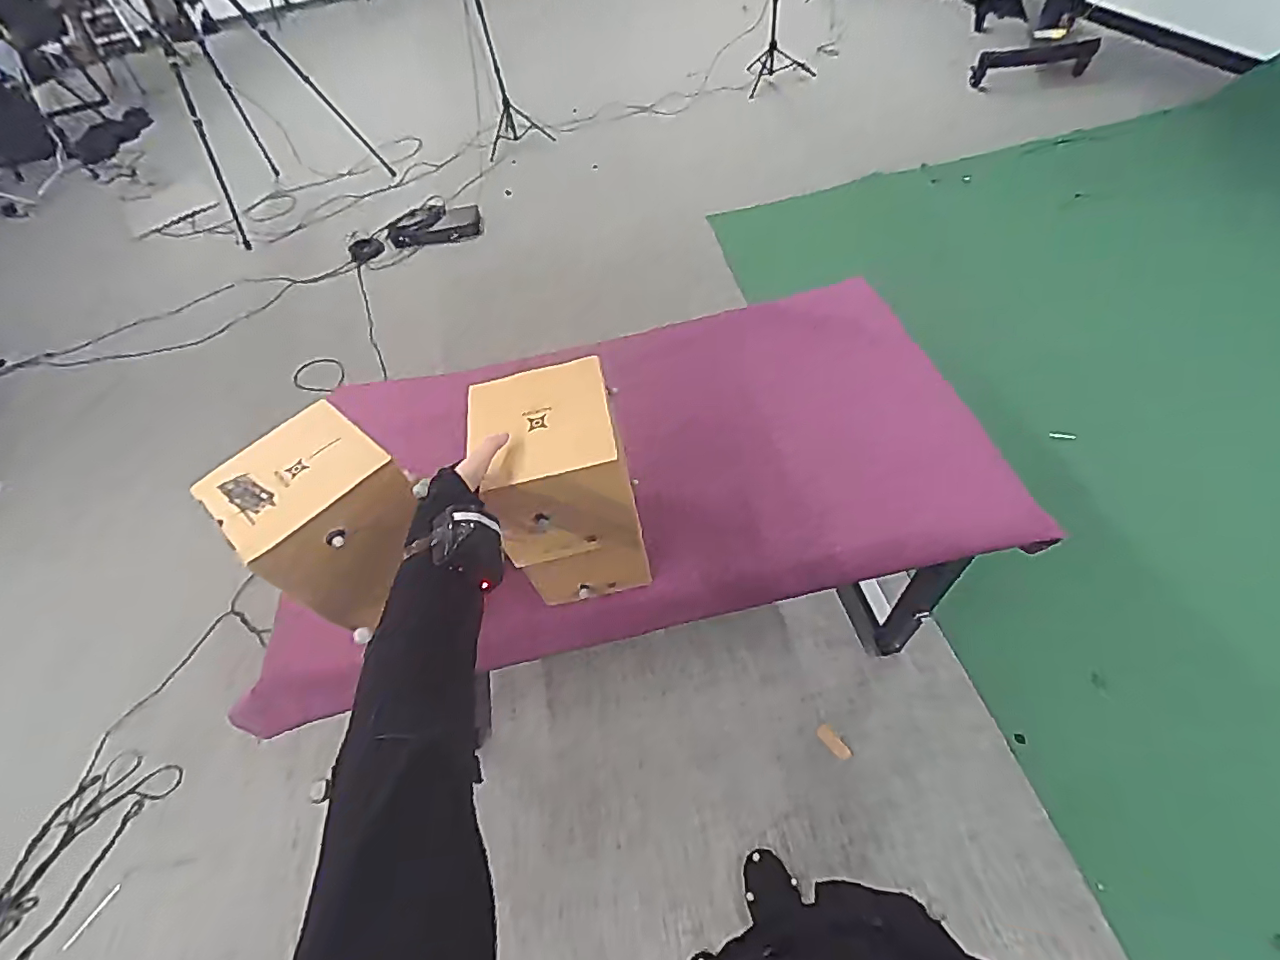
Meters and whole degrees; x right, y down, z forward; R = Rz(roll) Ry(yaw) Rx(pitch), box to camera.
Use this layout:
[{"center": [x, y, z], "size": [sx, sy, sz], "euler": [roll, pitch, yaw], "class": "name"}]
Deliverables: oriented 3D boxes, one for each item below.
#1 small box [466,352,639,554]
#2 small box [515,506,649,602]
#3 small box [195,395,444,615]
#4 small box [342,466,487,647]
[{"center": [-0.104, -0.024, 0.676], "size": [0.168, 0.176, 0.179], "euler": [-14, 51, 0], "class": "small box"}, {"center": [-0.087, 0.058, 0.815], "size": [0.168, 0.176, 0.179], "euler": [-13, 53, 0], "class": "small box"}, {"center": [-0.381, 0.034, 0.670], "size": [0.168, 0.176, 0.179], "euler": [33, 64, 28], "class": "small box"}, {"center": [-0.362, 0.119, 0.811], "size": [0.179, 0.176, 0.168], "euler": [-34, 56, -15], "class": "small box"}]
